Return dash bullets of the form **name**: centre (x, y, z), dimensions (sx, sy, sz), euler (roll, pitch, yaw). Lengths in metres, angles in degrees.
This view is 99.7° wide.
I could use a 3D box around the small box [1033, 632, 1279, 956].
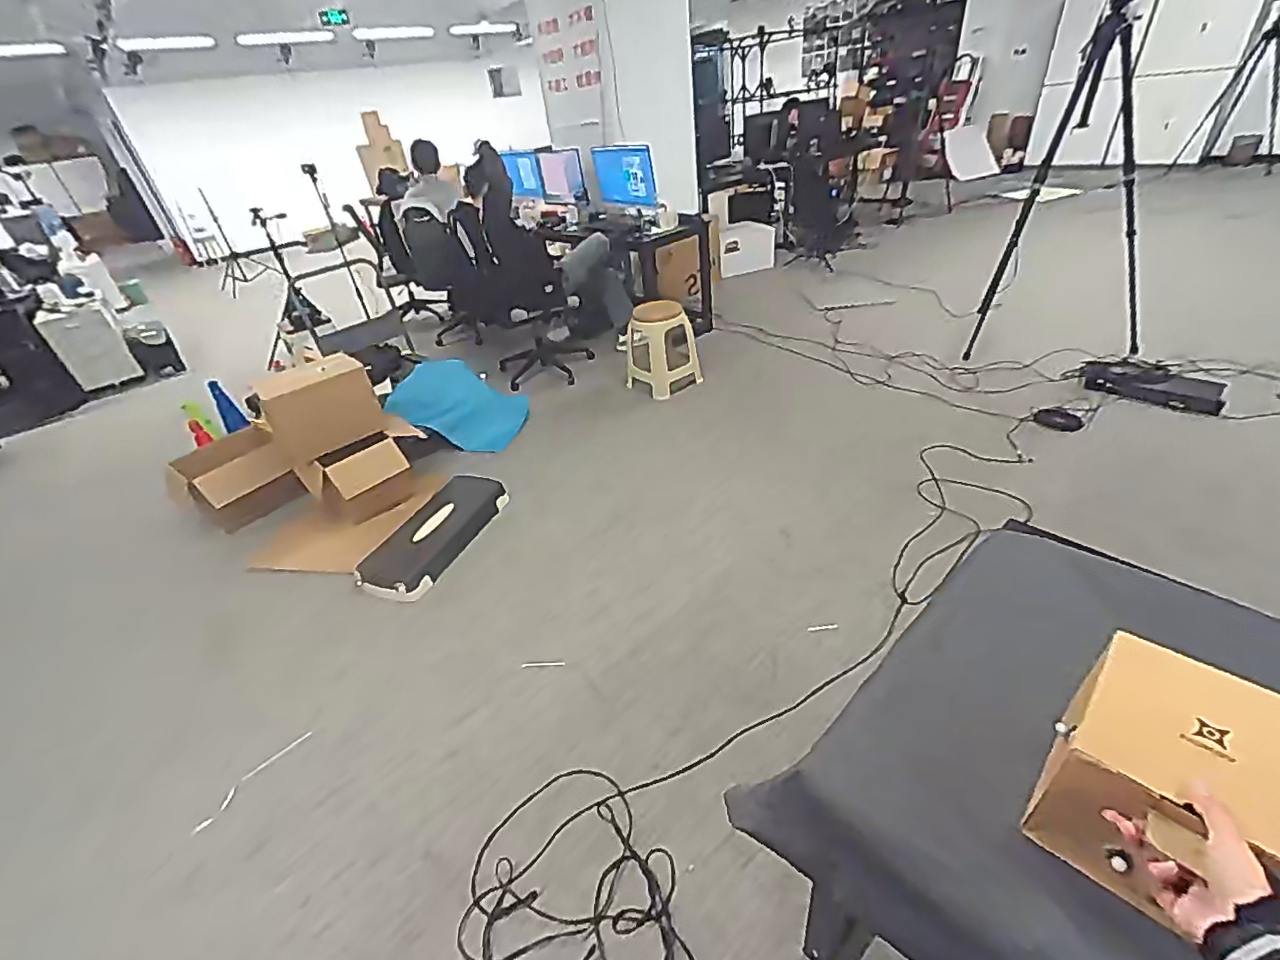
- **small box**: centre (0.516, 0.292, 0.523), dimensions (0.168, 0.176, 0.179), euler (25, 47, 38)
